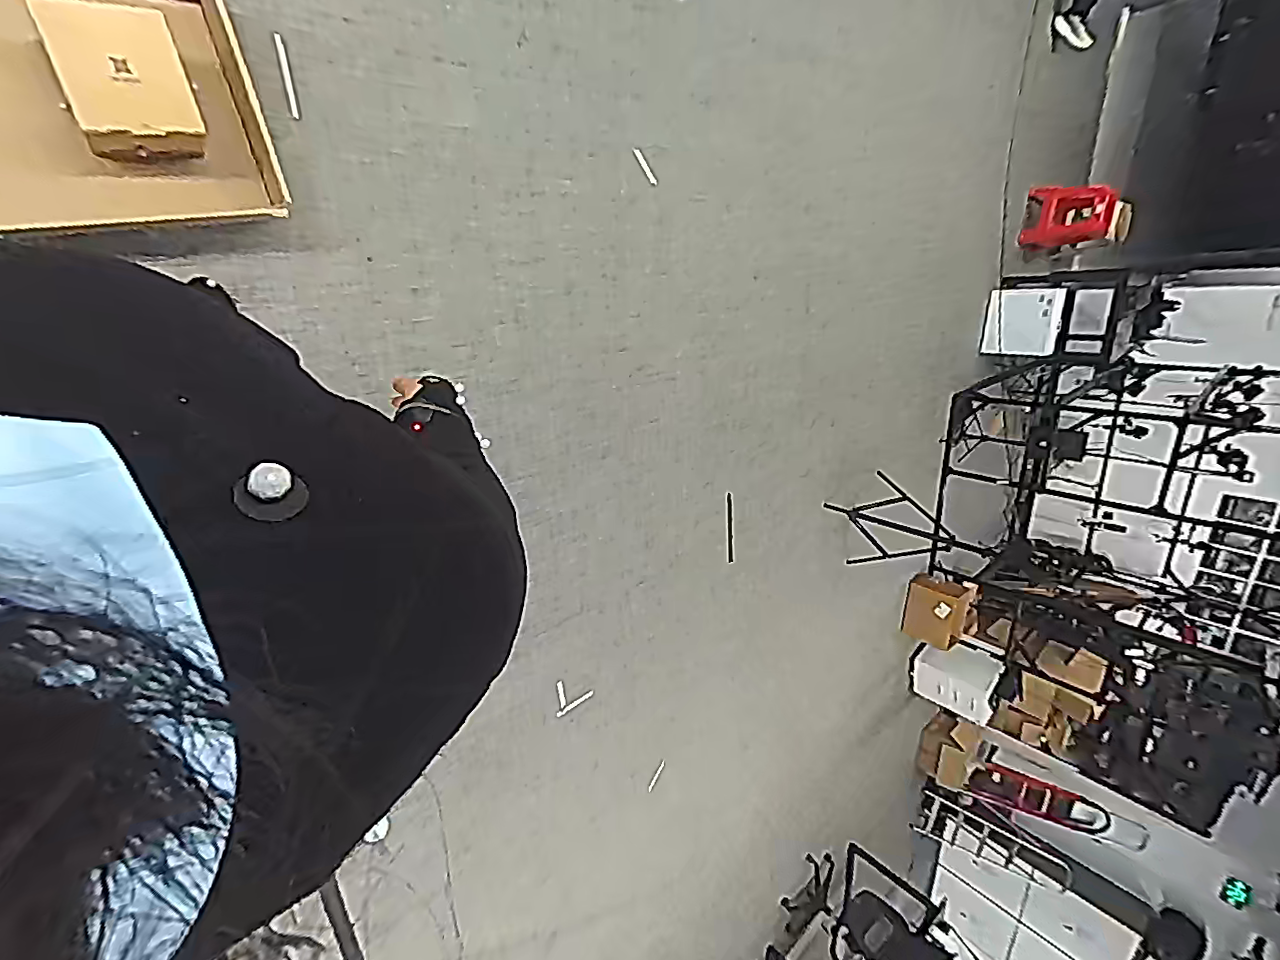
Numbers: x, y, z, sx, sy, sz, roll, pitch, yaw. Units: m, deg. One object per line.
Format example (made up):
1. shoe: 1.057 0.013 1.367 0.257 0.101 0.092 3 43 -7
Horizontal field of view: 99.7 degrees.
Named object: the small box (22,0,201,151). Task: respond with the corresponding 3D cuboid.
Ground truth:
1. small box: -0.882 -0.676 0.915 0.168 0.176 0.179 -24 118 -34
